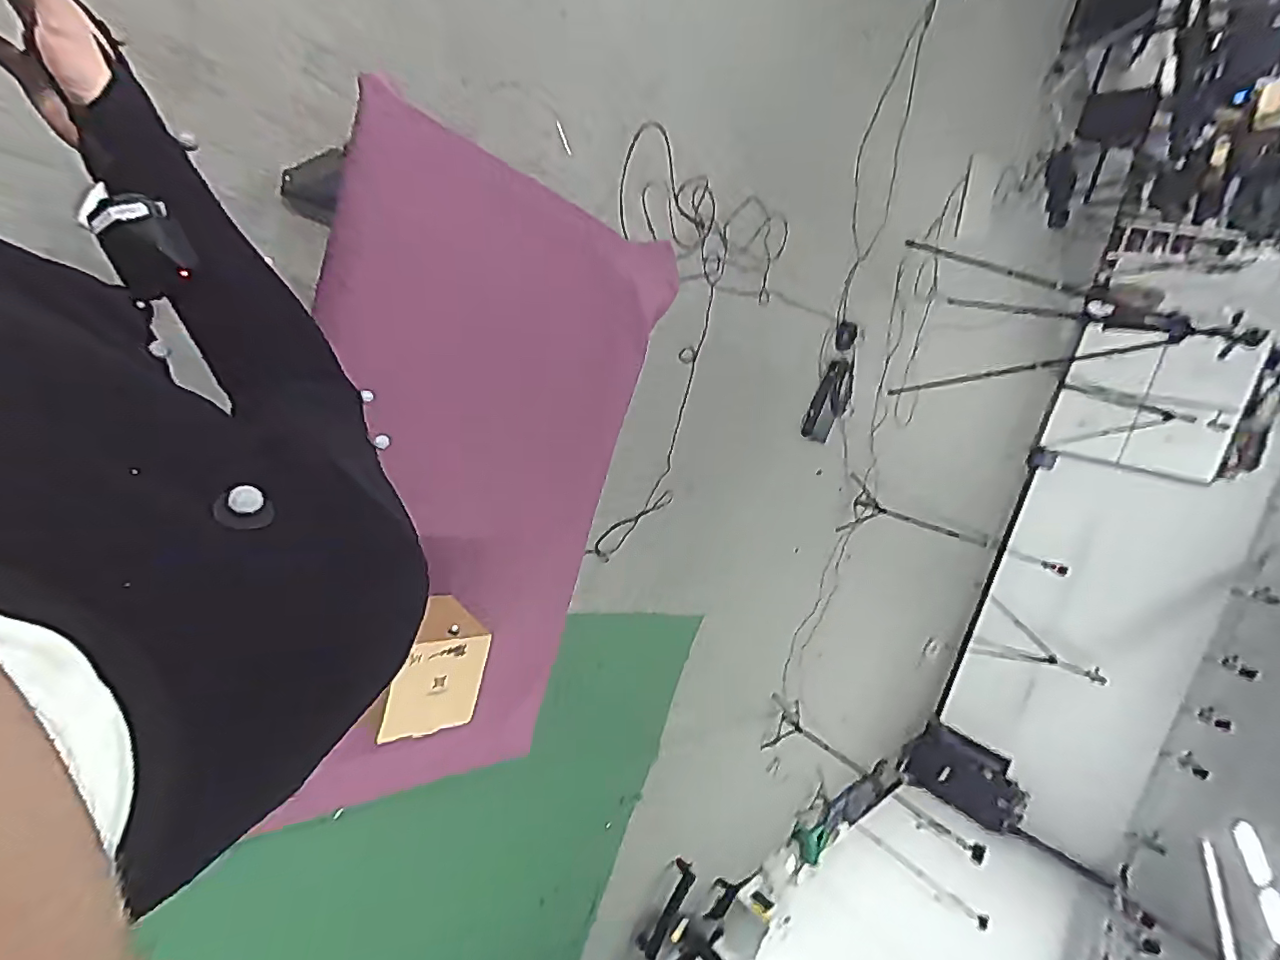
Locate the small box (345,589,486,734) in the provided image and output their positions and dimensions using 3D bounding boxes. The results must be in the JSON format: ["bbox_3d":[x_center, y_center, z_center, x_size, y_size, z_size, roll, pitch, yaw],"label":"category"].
[{"bbox_3d":[-0.406,0.313,0.968,0.168,0.176,0.179,10,101,-46],"label":"small box"}]
